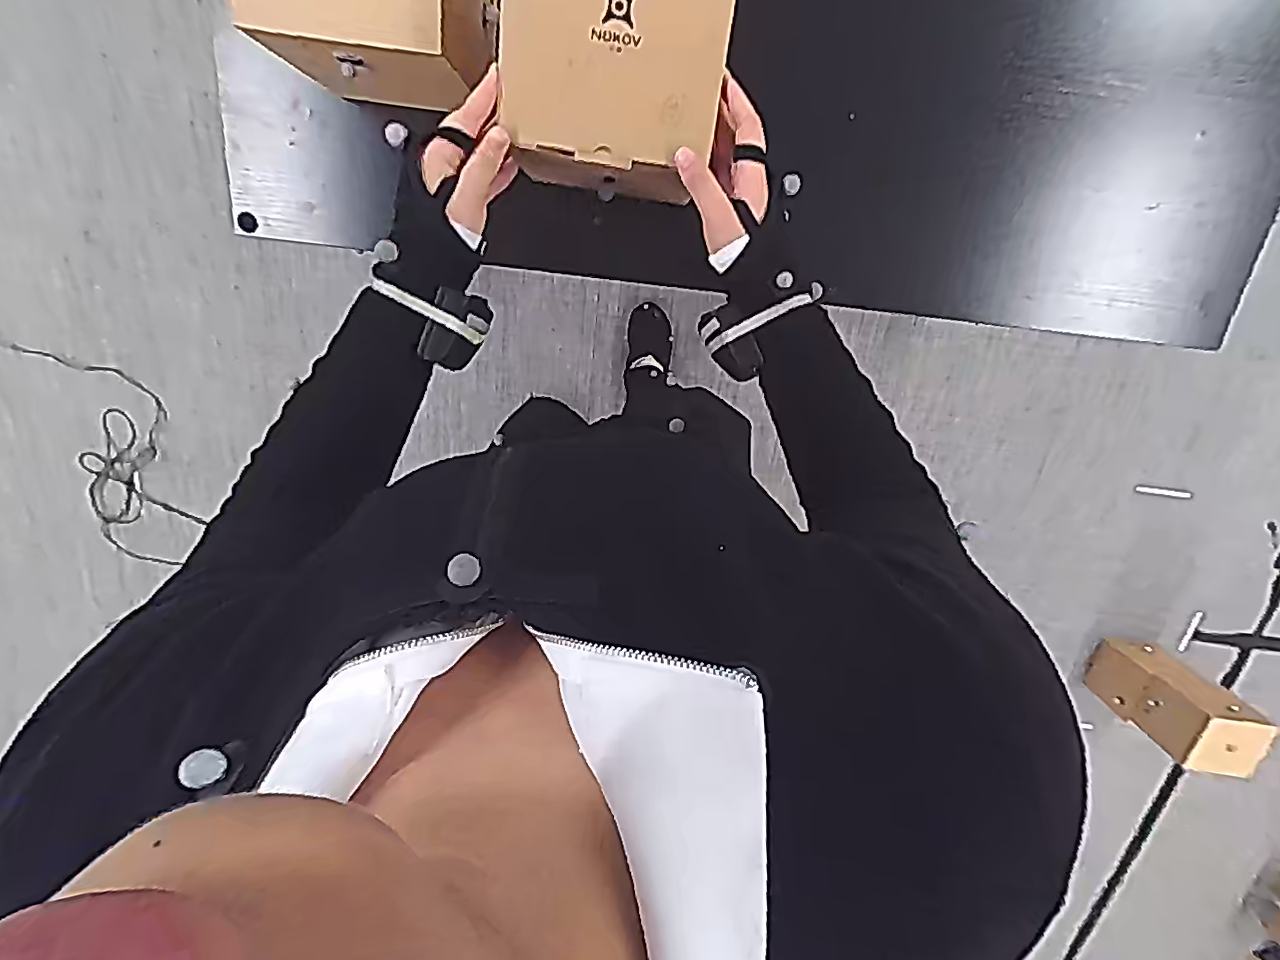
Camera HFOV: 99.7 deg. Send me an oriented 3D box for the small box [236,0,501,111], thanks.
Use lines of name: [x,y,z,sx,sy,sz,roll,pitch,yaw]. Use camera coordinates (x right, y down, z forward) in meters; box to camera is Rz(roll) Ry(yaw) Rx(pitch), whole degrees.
small box: [-0.238,-0.471,0.503,0.179,0.176,0.168,7,109,-2]

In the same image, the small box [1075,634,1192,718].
small box: [1.459,0.590,1.615,0.168,0.176,0.179,6,109,-1]

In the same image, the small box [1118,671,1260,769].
small box: [1.468,0.641,1.460,0.179,0.176,0.168,8,109,0]

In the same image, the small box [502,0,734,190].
small box: [-0.014,-0.363,0.467,0.168,0.176,0.179,7,112,-3]
